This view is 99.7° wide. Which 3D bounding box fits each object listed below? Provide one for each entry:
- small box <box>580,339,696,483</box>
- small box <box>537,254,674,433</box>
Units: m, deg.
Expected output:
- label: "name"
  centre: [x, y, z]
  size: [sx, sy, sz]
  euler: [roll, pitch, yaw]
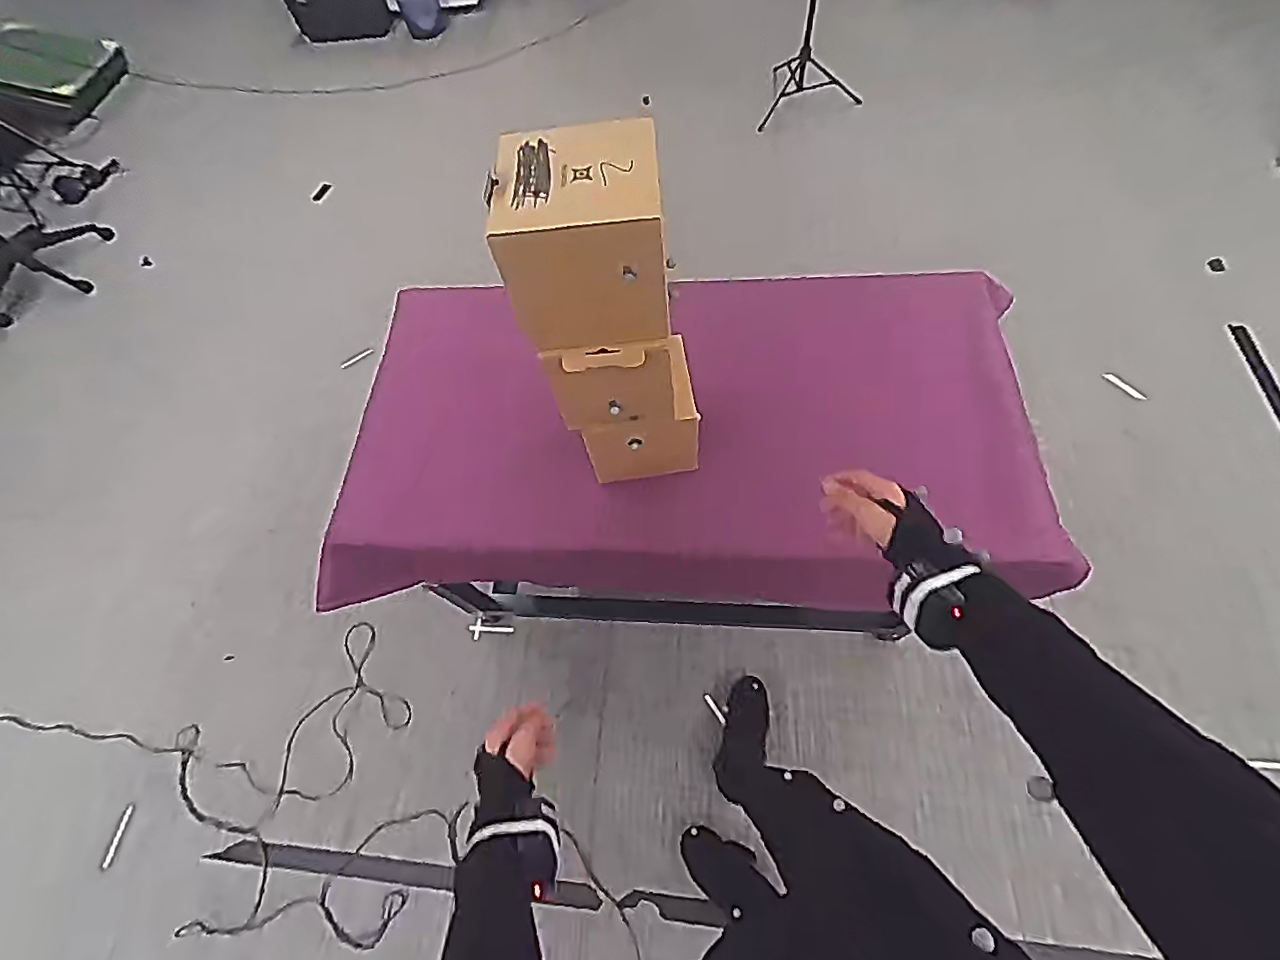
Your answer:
- label: "small box"
  centre: [-0.003, -0.107, 0.910]
  size: [0.179, 0.176, 0.168]
  euler: [-8, 63, 1]
- label: "small box"
  centre: [-0.040, -0.188, 0.769]
  size: [0.168, 0.176, 0.179]
  euler: [-4, 63, 5]
